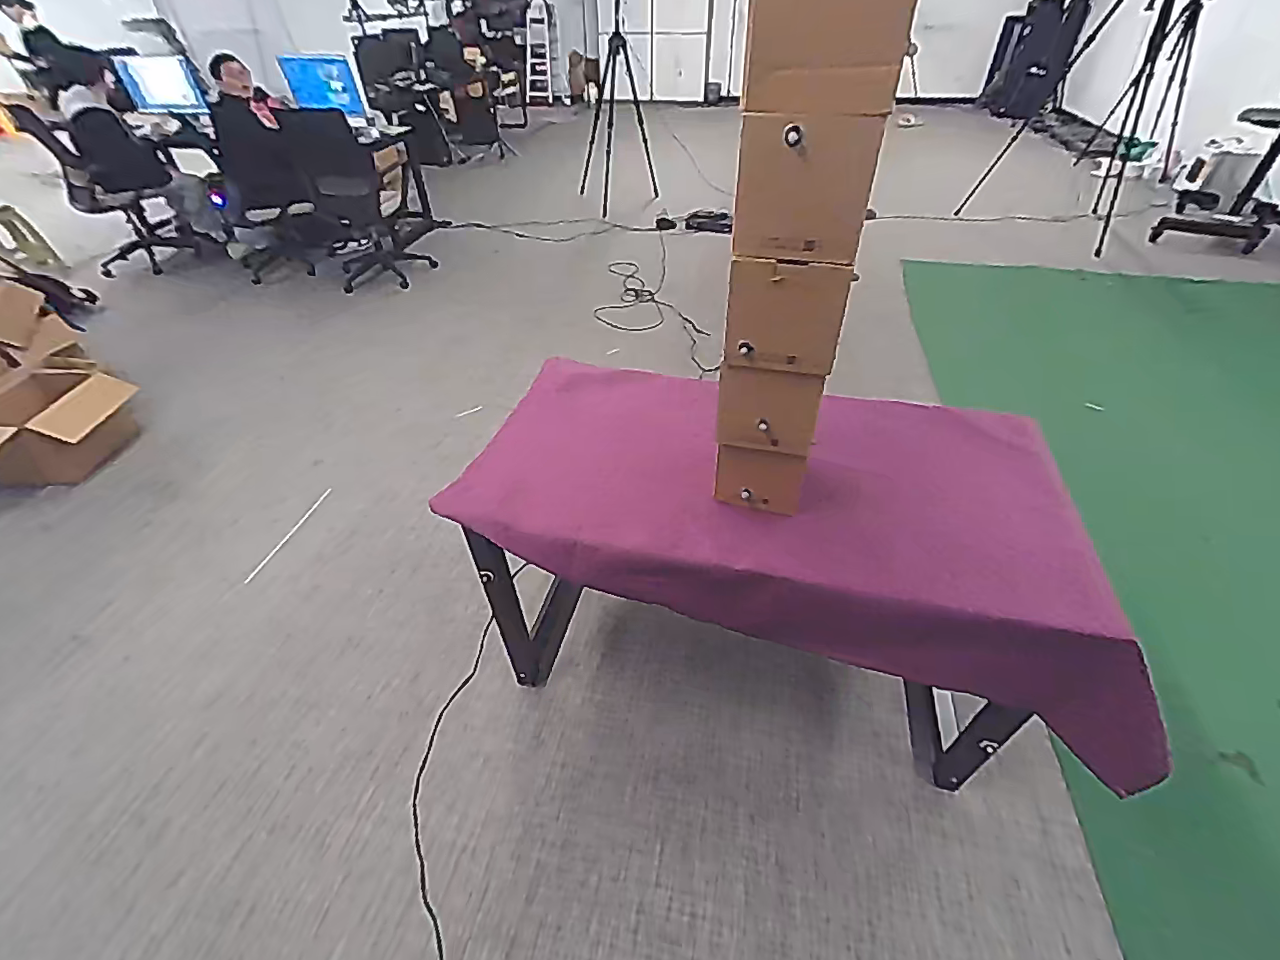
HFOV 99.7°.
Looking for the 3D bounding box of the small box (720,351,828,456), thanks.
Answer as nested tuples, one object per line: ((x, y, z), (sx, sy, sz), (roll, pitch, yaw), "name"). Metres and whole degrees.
((0.239, -0.169, 0.965), (0.168, 0.176, 0.179), (9, 43, 14), "small box")

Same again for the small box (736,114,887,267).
((0.231, -0.410, 0.743), (0.168, 0.176, 0.179), (11, 43, 15), "small box")

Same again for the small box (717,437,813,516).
((0.252, -0.057, 1.084), (0.168, 0.176, 0.179), (11, 44, 15), "small box")

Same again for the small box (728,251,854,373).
((0.236, -0.285, 0.848), (0.168, 0.176, 0.179), (10, 42, 14), "small box")

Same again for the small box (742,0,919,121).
((0.225, -0.531, 0.634), (0.179, 0.176, 0.168), (13, 44, 16), "small box")
